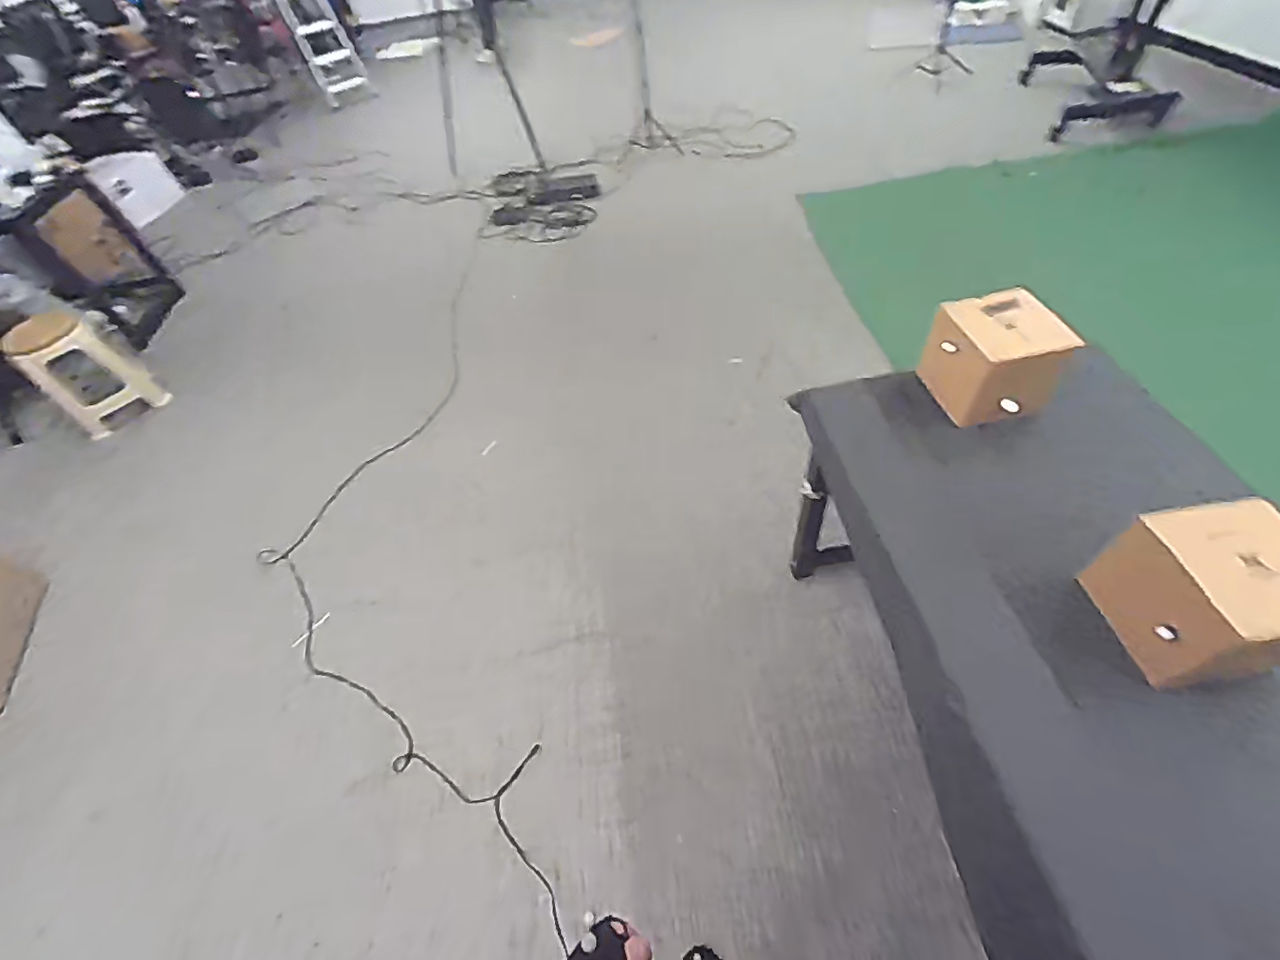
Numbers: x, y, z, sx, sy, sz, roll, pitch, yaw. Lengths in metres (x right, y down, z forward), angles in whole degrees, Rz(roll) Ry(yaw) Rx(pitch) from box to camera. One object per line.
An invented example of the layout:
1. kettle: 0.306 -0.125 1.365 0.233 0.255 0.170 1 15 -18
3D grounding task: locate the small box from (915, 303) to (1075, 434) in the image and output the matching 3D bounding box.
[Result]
1. small box: 0.671 -0.215 1.052 0.168 0.176 0.179 -10 51 -3

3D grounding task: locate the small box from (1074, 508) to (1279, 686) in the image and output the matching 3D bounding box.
1. small box: 0.757 0.164 0.732 0.168 0.176 0.179 -7 49 -2
